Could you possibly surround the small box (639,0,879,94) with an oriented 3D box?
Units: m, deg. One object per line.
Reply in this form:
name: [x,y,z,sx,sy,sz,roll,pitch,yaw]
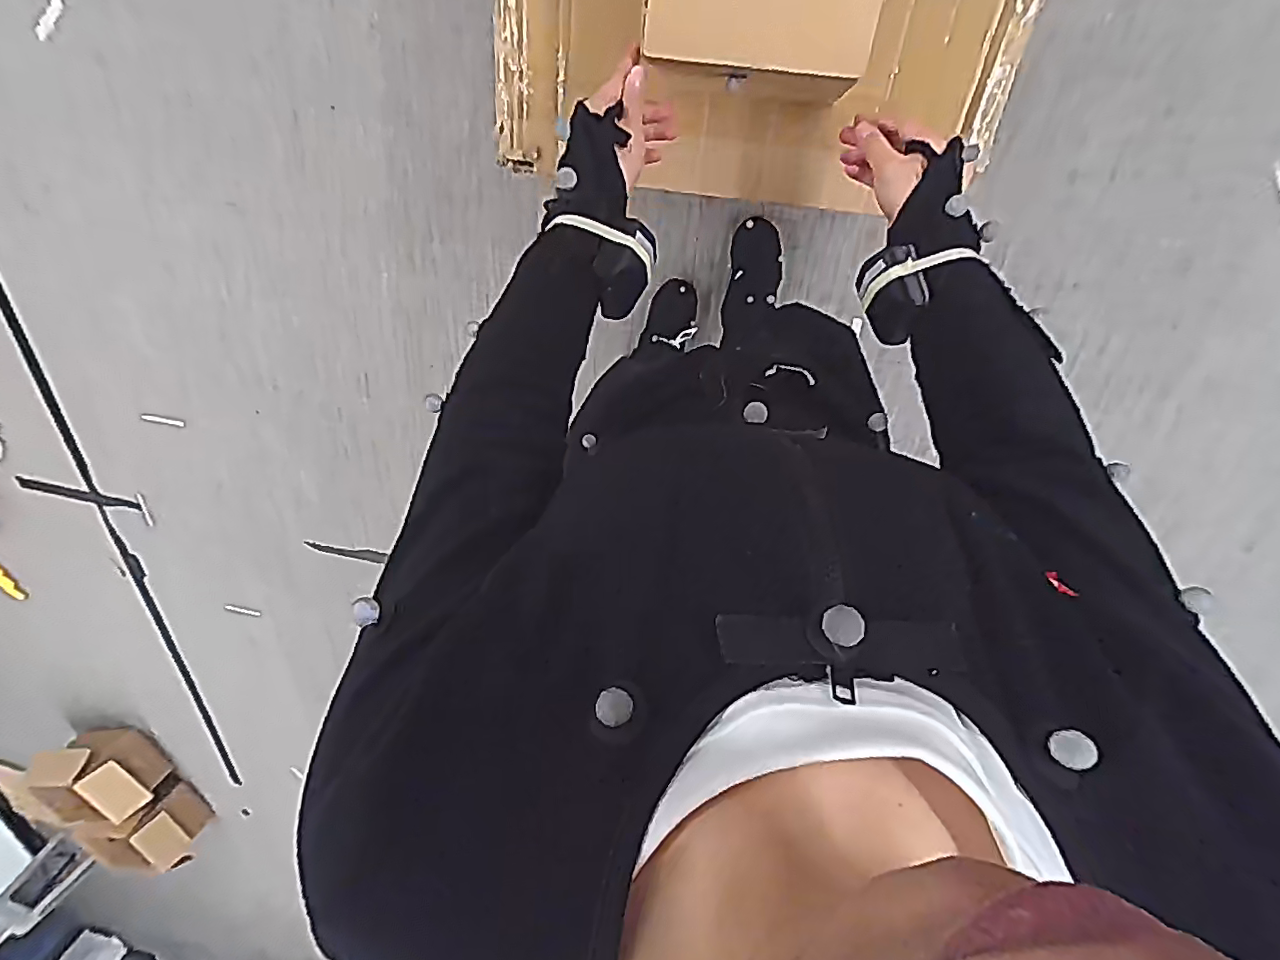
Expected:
small box: [0.107,-0.433,0.444,0.179,0.176,0.168,11,121,5]
